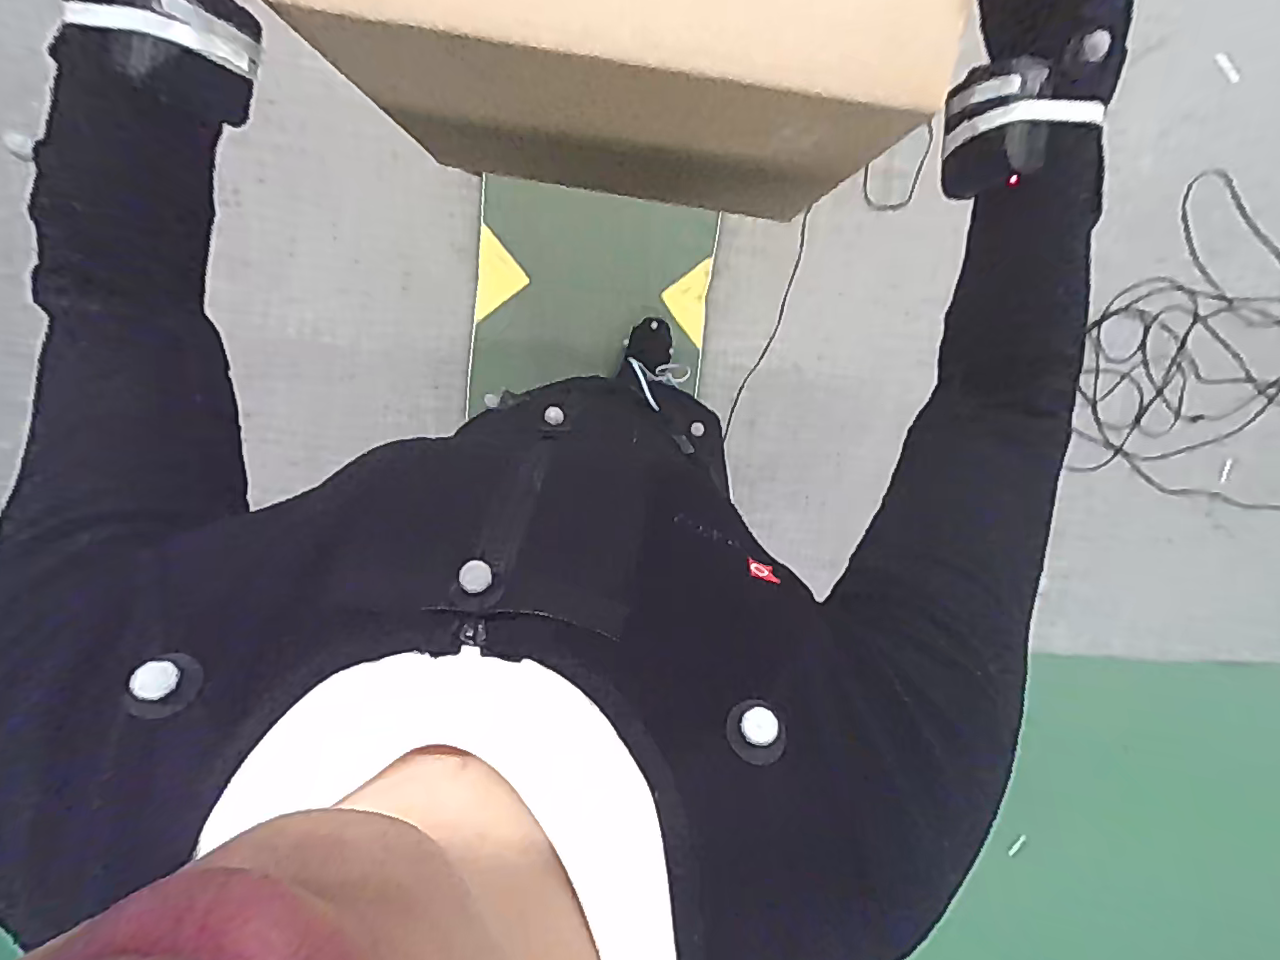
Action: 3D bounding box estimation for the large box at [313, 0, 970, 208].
[{"bbox_3d":[0.007,-0.442,0.430,0.408,0.320,0.320,7,105,-4],"label":"large box"}]
